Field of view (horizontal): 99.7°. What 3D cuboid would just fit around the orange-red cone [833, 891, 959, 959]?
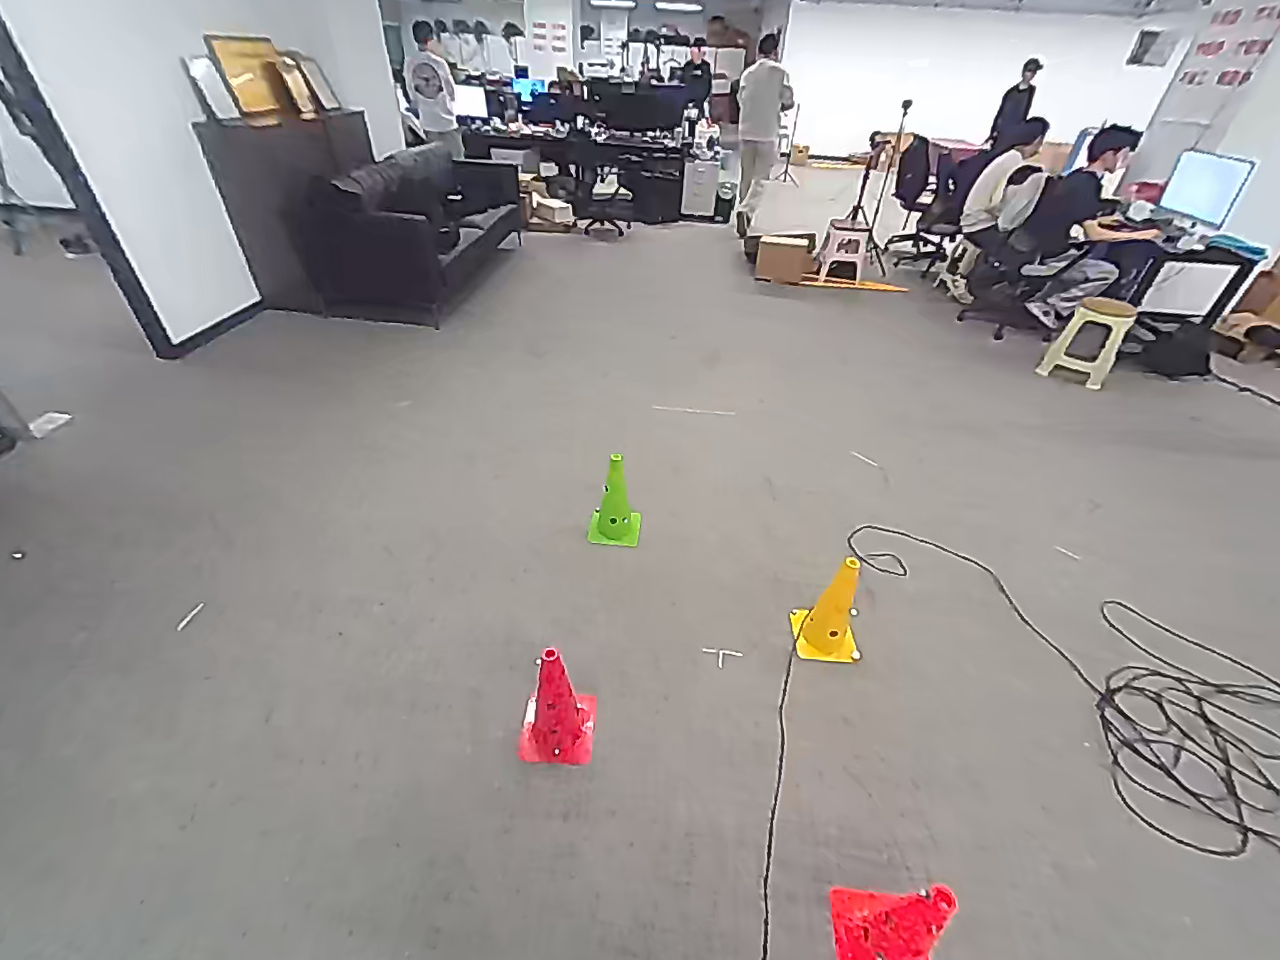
[{"bbox_3d":[0.536,0.888,1.065,0.198,0.360,0.199,7,37,4],"label":"orange-red cone"}]

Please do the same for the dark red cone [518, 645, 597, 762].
[{"bbox_3d":[-0.219,0.558,1.408,0.202,0.394,0.201,2,39,-1],"label":"dark red cone"}]

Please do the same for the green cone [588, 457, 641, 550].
[{"bbox_3d":[-0.093,0.070,2.090,0.202,0.368,0.200,6,38,2],"label":"green cone"}]
